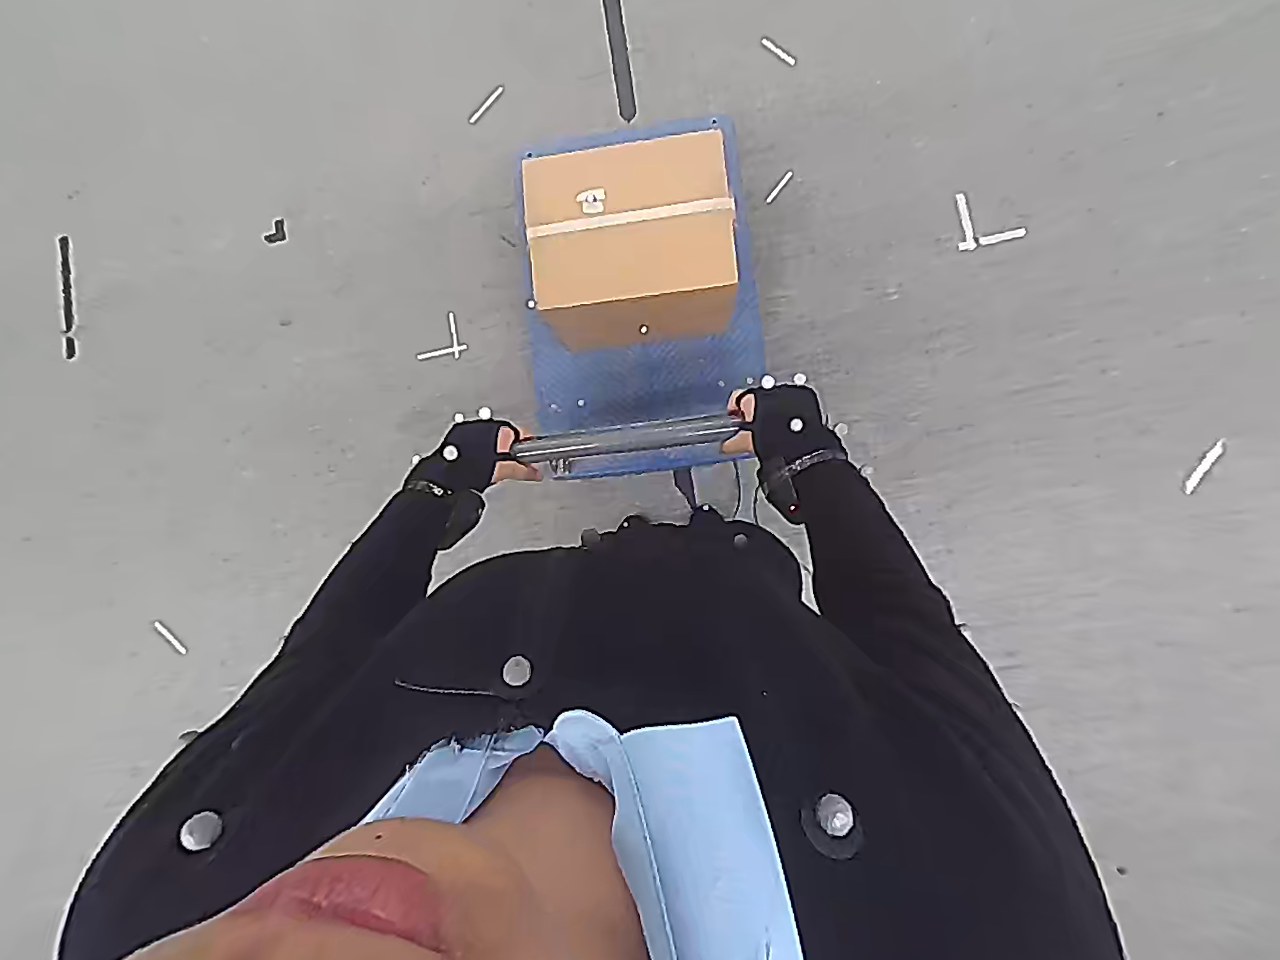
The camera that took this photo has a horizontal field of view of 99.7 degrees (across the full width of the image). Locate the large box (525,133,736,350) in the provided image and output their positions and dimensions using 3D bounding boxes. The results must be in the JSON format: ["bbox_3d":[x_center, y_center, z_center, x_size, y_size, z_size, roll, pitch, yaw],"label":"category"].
[{"bbox_3d":[-0.007,-0.510,1.232,0.408,0.320,0.320,-6,86,6],"label":"large box"}]
